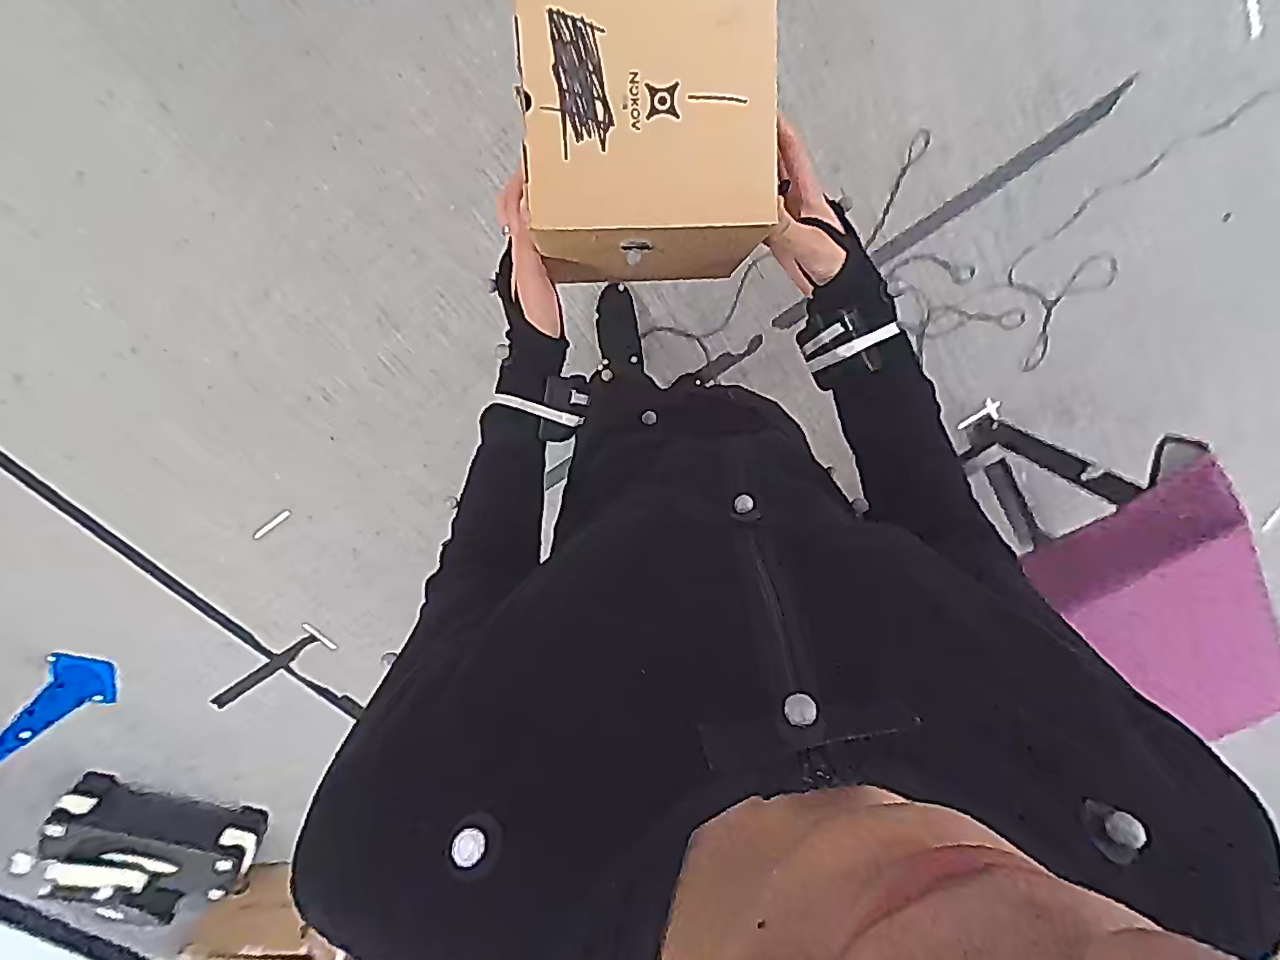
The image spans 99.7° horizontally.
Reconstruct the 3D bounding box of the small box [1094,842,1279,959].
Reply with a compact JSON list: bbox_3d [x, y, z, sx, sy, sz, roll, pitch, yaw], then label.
[{"bbox_3d":[0.849,0.691,0.819,0.168,0.176,0.179,-40,112,13],"label":"small box"}]

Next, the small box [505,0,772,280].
[{"bbox_3d":[-0.001,-0.267,0.442,0.179,0.176,0.168,-3,98,-3],"label":"small box"}]
